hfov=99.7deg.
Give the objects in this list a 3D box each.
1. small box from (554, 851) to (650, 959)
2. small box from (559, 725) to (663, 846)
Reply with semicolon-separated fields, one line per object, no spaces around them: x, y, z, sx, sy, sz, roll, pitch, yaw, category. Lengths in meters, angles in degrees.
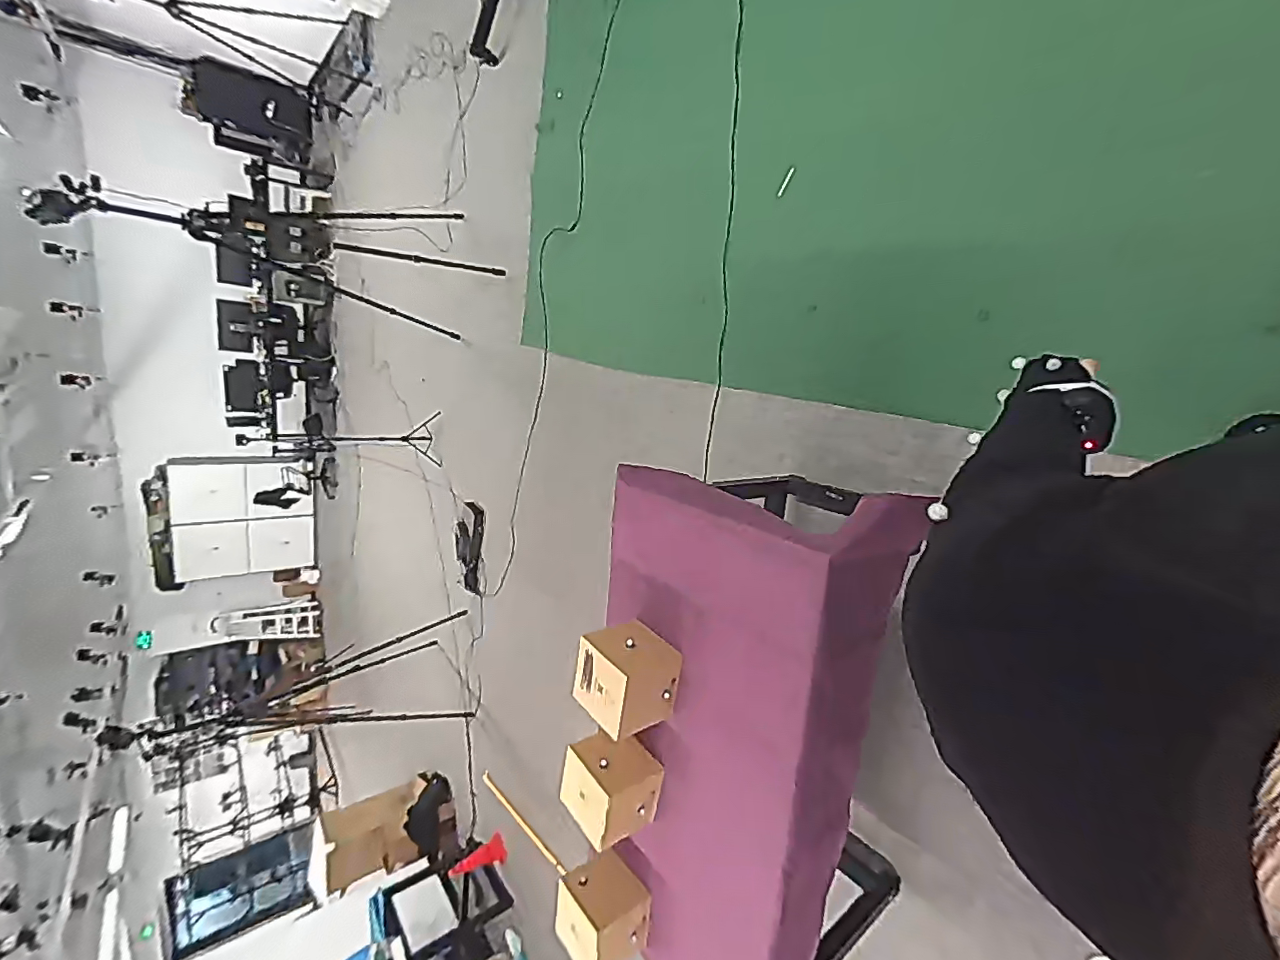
-0.099;1.096;1.381;0.179;0.176;0.168;18;107;48;small box
-0.072;0.733;1.324;0.179;0.176;0.168;28;114;45;small box
